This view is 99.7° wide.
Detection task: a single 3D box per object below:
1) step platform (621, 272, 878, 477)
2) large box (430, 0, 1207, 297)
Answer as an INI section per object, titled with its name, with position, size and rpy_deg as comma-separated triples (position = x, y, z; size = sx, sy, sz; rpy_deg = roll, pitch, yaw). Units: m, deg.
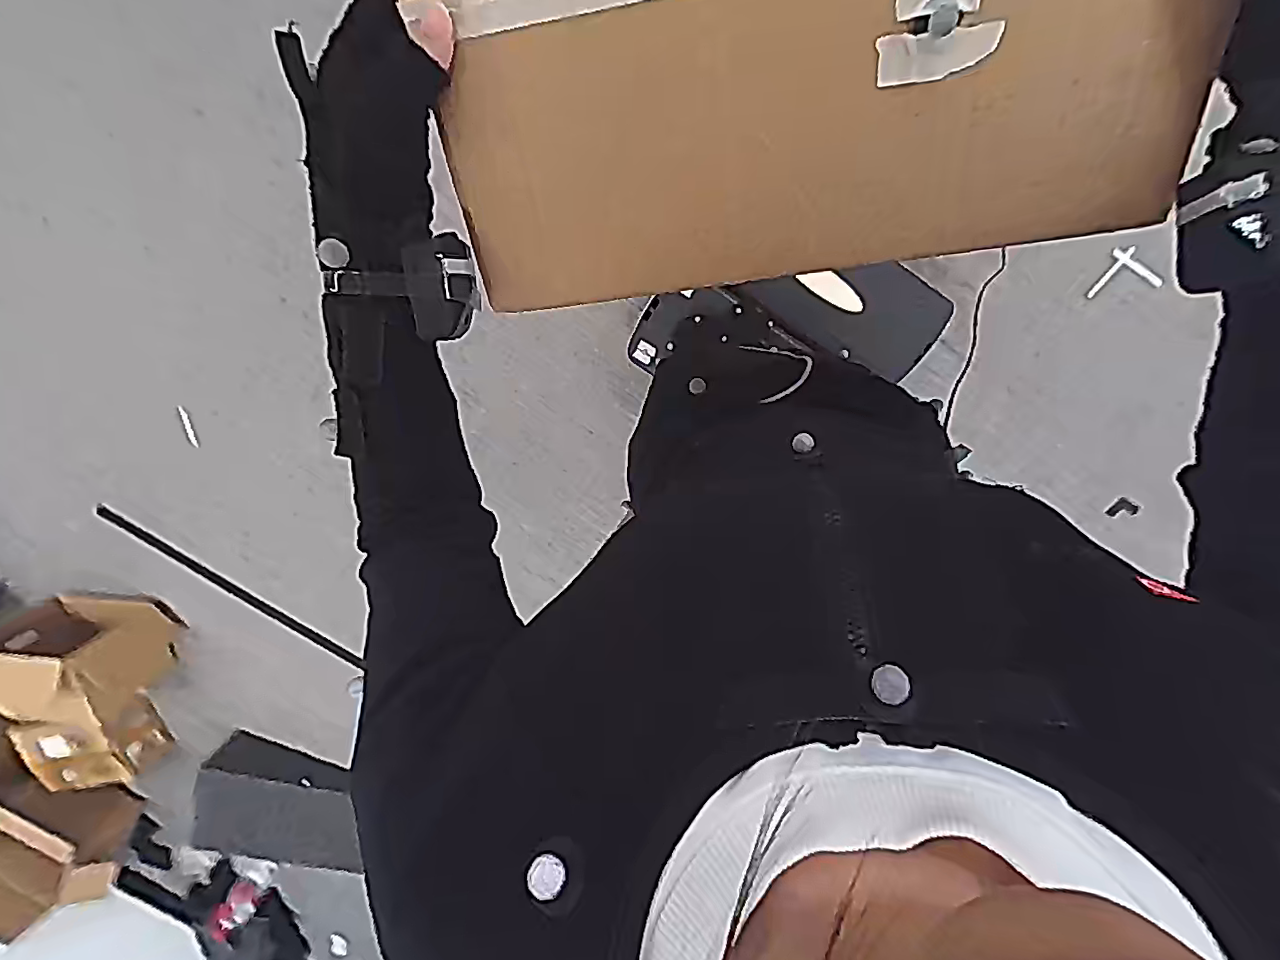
[step platform]
position = 0.288, -0.297, 1.465
size = 0.684, 0.204, 0.286
rpy_deg = 33, 110, -3
[large box]
position = 0.090, -0.351, 0.396
size = 0.408, 0.320, 0.320
rpy_deg = -5, 122, 8
